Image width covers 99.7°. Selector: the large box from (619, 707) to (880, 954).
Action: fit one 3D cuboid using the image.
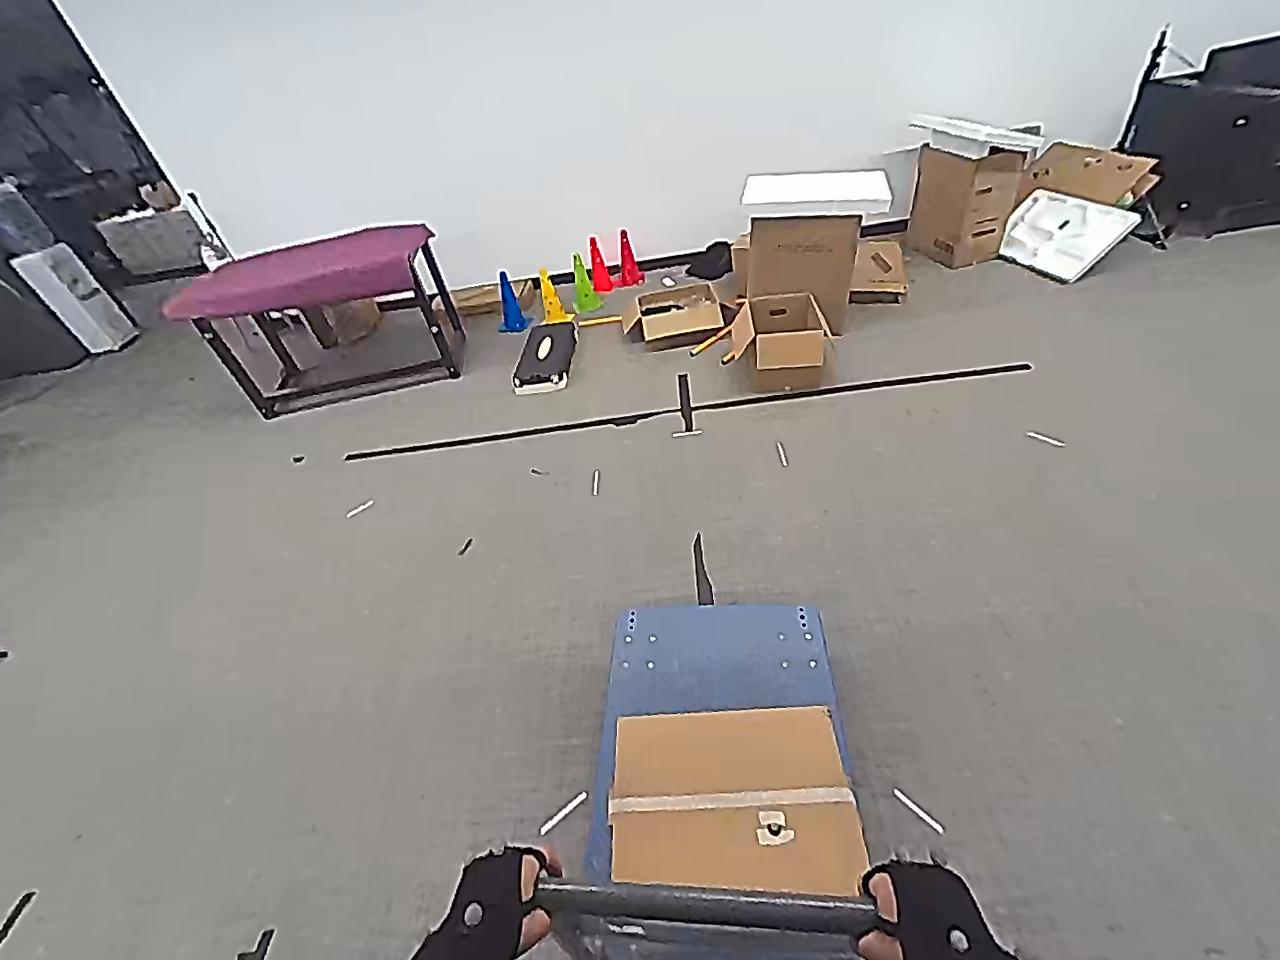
[{"bbox_3d":[0.178,0.663,1.023,0.408,0.320,0.320,-5,42,4],"label":"large box"}]
